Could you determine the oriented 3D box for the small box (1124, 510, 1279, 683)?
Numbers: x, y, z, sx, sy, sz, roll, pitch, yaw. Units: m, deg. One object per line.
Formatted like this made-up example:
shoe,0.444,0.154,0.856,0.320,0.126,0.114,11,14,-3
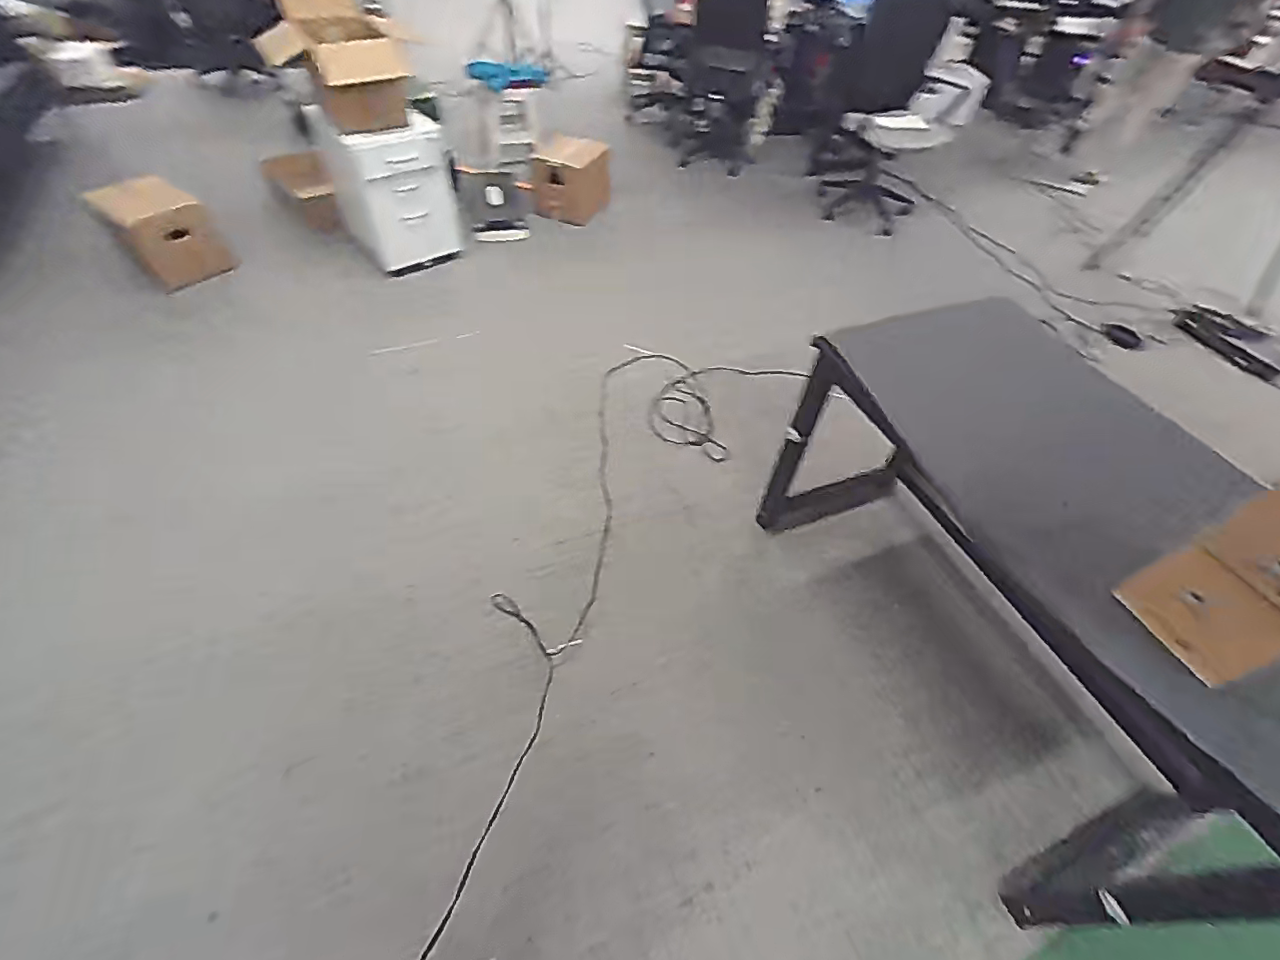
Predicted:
small box,0.884,0.174,0.799,0.179,0.176,0.168,-14,52,-18
